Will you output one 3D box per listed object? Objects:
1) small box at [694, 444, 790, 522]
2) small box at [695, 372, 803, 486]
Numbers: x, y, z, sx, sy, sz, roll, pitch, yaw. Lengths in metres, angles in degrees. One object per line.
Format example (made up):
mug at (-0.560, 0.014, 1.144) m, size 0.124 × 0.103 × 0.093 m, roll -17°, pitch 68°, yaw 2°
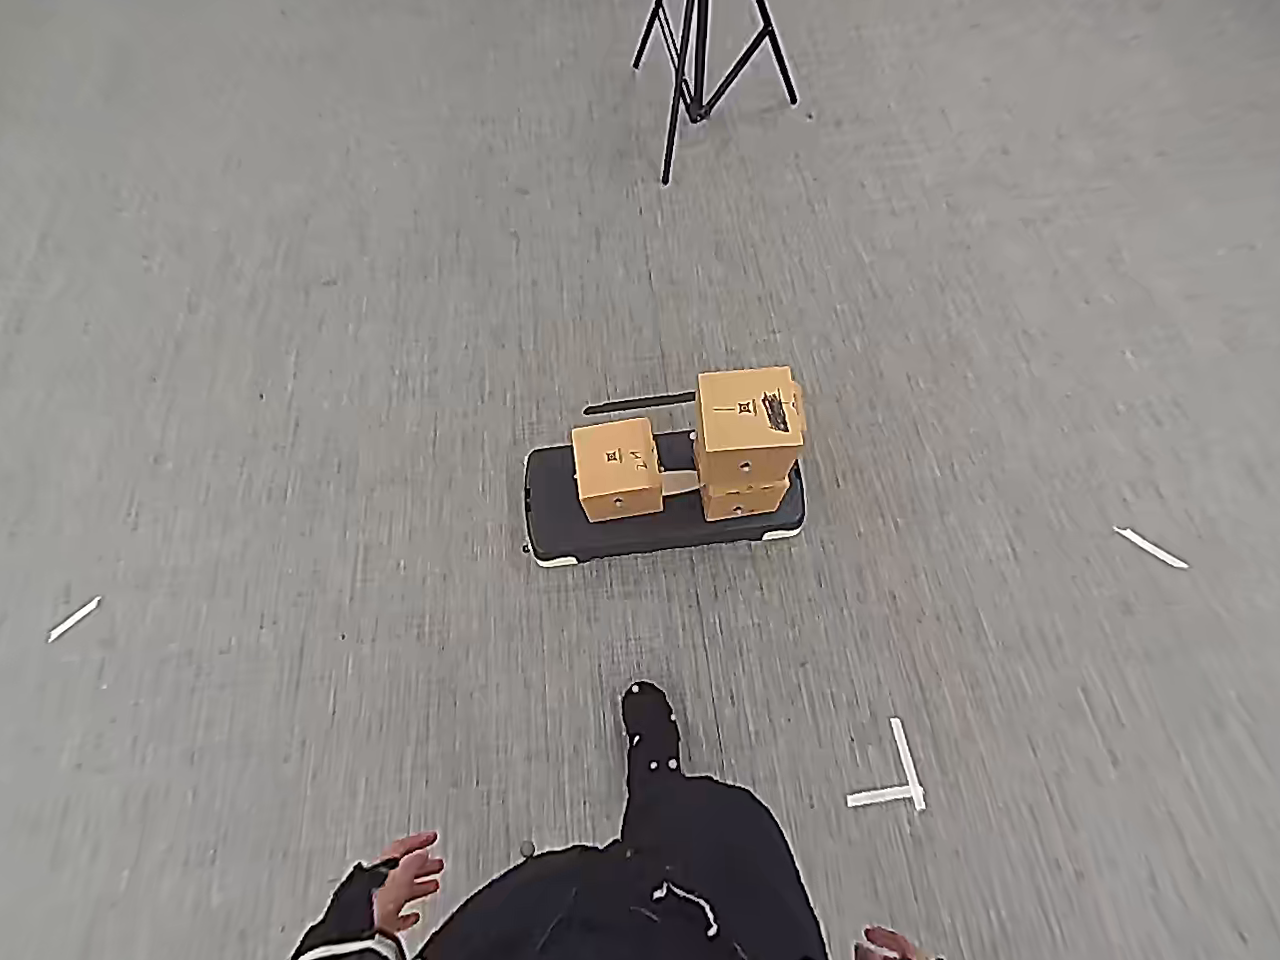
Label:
small box at (0.217, -0.021, 1.208) m, size 0.168 × 0.176 × 0.179 m, roll -9°, pitch 69°, yaw -1°
small box at (0.204, -0.094, 1.060) m, size 0.179 × 0.176 × 0.168 m, roll -4°, pitch 68°, yaw 2°
